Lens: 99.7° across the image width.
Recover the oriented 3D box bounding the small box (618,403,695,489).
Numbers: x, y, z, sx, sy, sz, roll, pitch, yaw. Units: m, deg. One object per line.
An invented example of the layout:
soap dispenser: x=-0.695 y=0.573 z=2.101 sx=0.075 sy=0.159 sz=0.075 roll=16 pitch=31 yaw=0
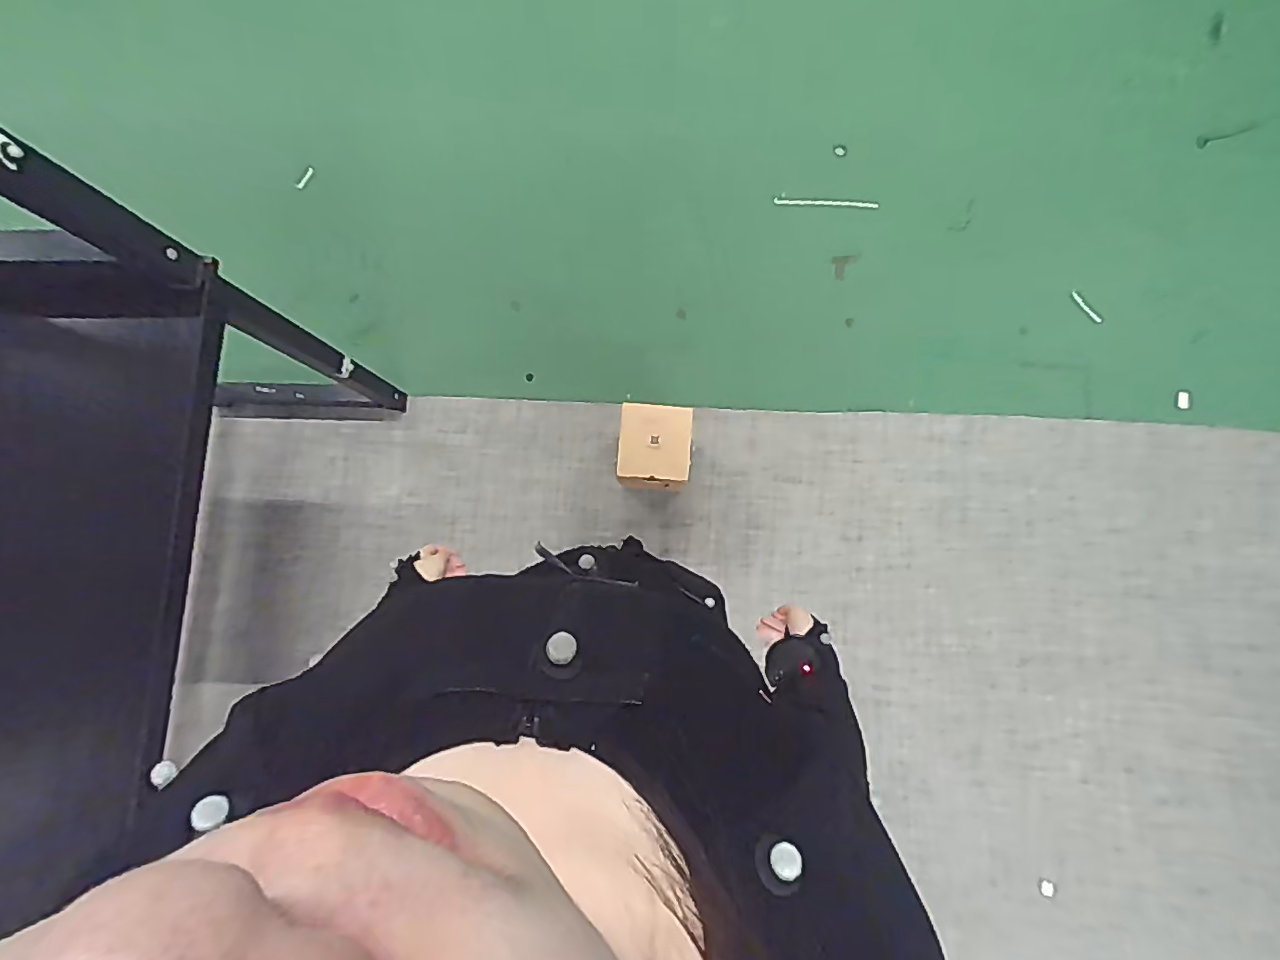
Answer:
small box: x=0.039 y=-0.075 z=1.297 sx=0.168 sy=0.176 sz=0.179 roll=4 pitch=83 yaw=0
